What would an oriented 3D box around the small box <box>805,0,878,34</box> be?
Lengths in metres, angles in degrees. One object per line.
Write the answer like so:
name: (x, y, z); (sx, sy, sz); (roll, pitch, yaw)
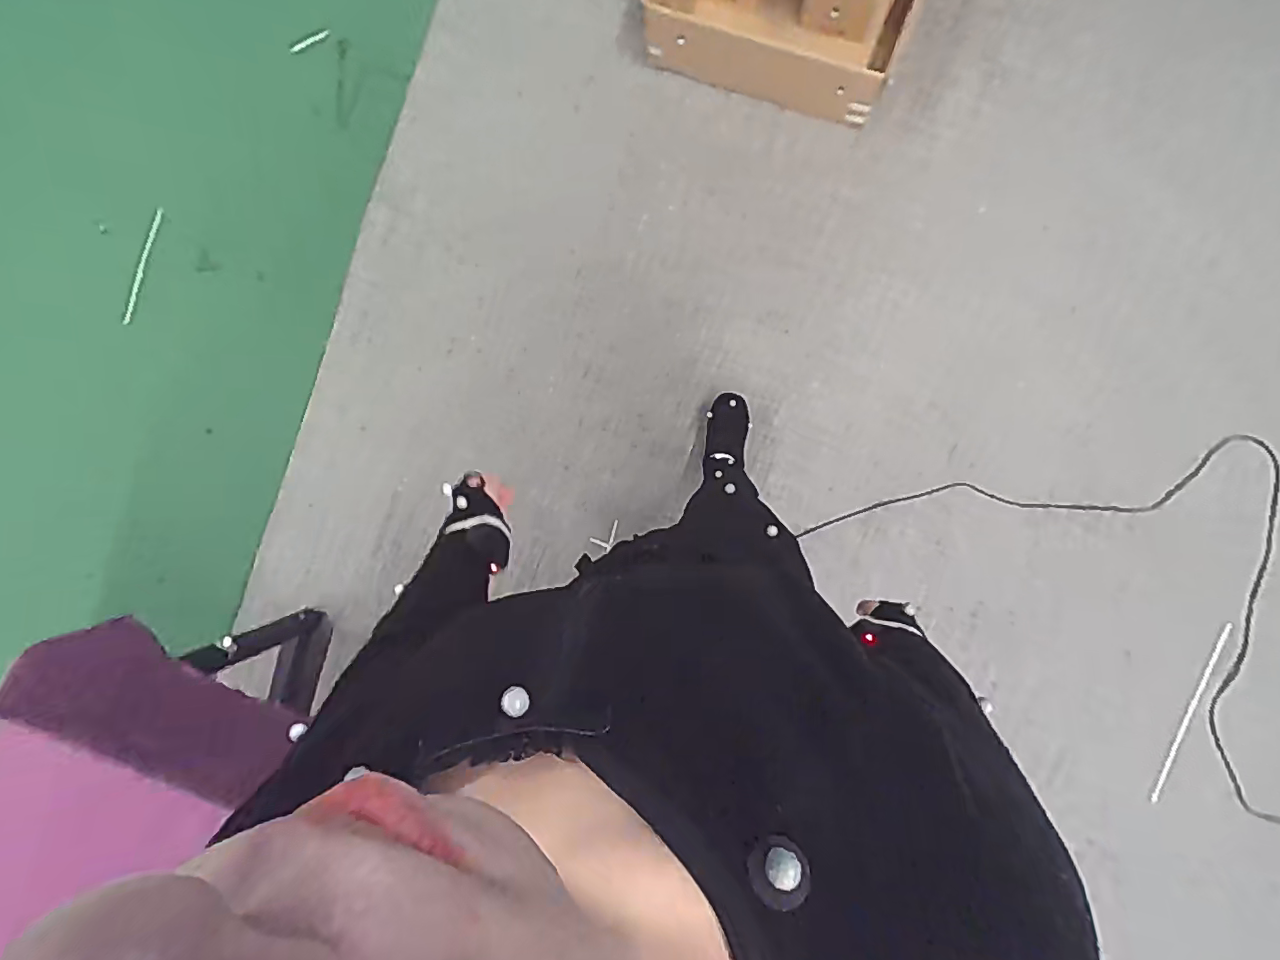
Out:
small box: (0.500, -1.206, 1.265); (0.168, 0.176, 0.179); (21, 95, 6)
